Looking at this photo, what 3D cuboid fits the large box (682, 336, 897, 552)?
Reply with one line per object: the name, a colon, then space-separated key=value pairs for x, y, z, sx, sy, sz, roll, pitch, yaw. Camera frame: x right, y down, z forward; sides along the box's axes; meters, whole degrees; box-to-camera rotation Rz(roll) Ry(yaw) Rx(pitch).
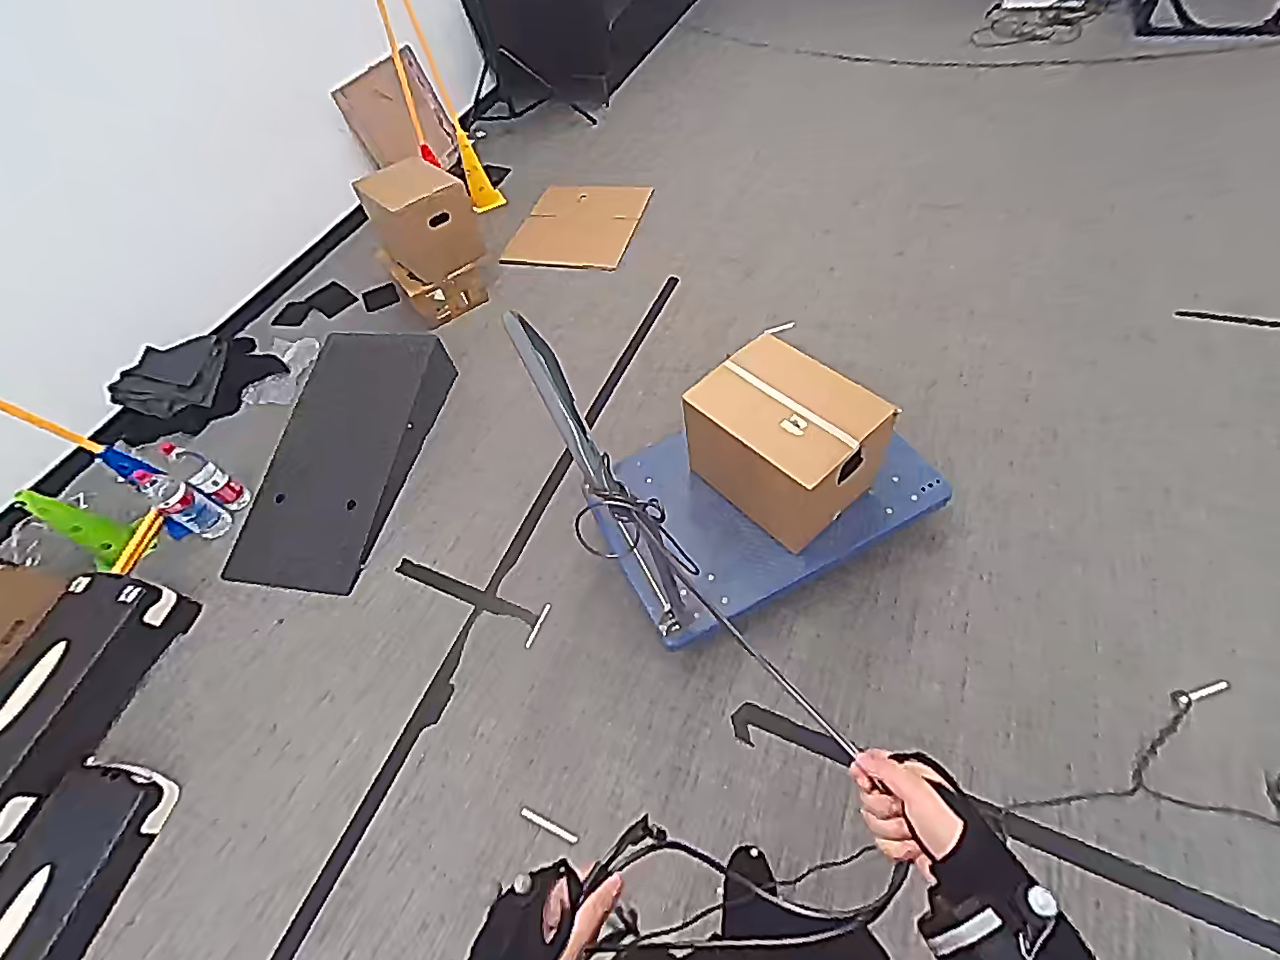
large box: x=0.360 y=-0.094 z=1.397 sx=0.320 sy=0.320 sz=0.408 roll=-39 pitch=60 yaw=-16
